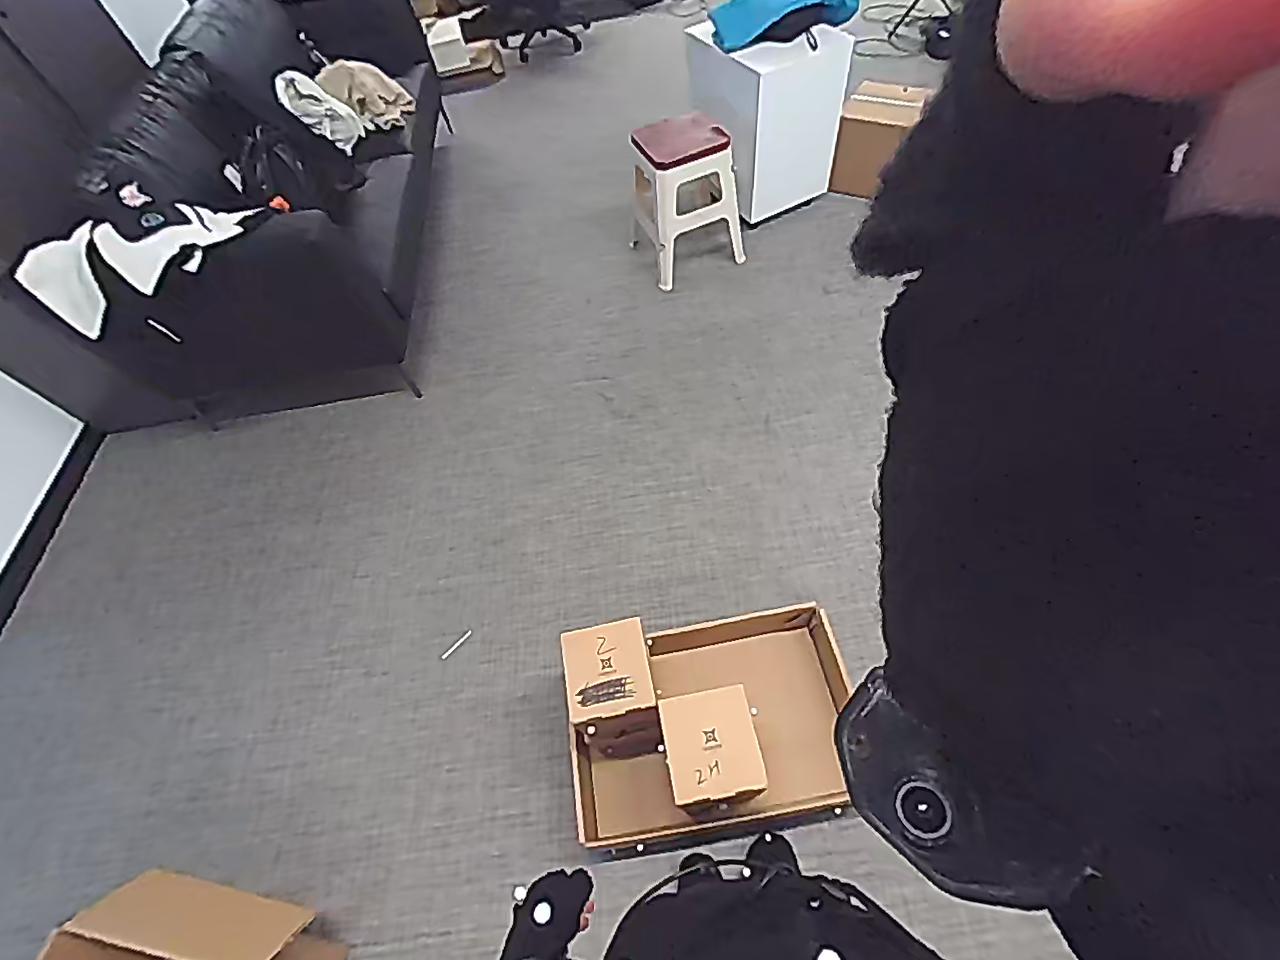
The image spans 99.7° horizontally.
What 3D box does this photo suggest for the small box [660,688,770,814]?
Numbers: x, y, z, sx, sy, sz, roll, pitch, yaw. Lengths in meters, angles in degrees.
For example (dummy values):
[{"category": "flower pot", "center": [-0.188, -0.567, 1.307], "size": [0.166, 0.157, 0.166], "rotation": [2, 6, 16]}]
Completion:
[{"category": "small box", "center": [0.135, 0.515, 1.022], "size": [0.168, 0.176, 0.179], "rotation": [-11, 56, 0]}]
